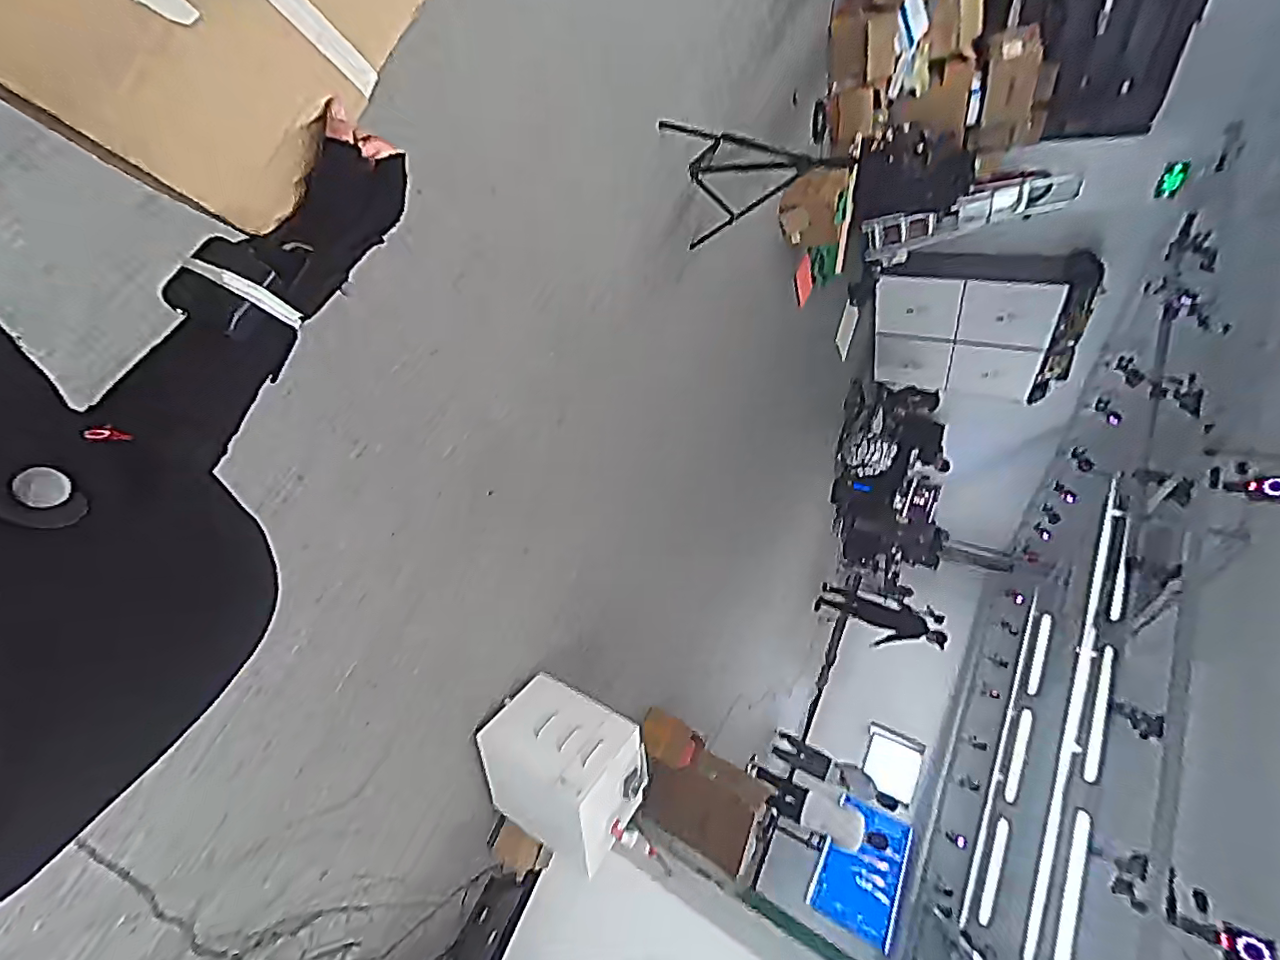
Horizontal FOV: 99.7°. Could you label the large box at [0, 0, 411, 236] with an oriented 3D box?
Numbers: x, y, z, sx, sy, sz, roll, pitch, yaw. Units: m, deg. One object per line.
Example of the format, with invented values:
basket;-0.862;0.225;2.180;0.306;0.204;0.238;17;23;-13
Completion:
large box;-0.434;-0.444;0.359;0.320;0.320;0.408;-60;150;0
